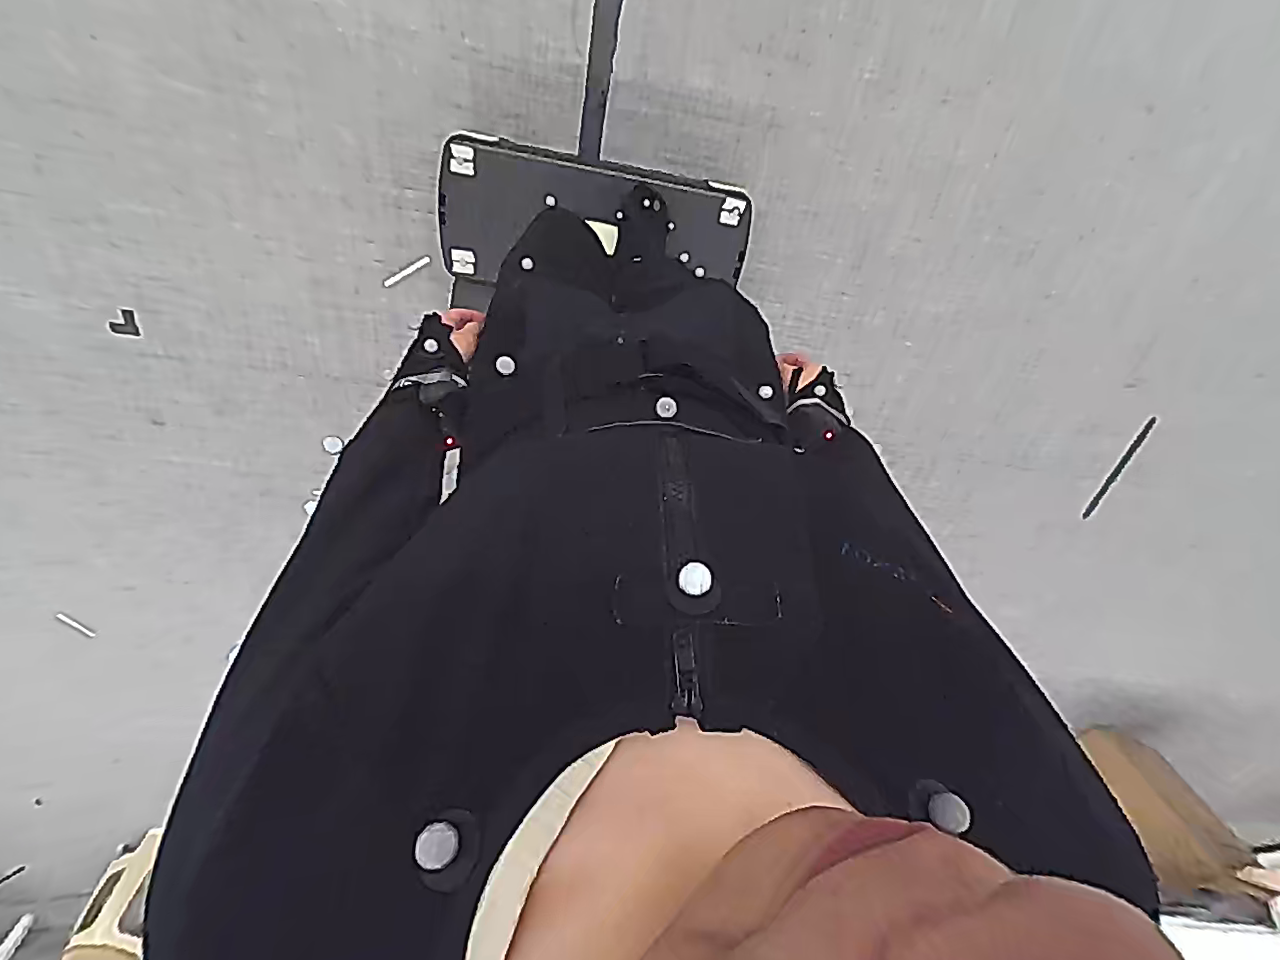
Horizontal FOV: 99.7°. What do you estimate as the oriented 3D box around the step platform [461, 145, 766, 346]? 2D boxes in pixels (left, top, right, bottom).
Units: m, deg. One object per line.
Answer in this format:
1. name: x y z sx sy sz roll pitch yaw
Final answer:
1. step platform: -0.060 -0.535 1.265 0.684 0.204 0.286 11 119 -10
